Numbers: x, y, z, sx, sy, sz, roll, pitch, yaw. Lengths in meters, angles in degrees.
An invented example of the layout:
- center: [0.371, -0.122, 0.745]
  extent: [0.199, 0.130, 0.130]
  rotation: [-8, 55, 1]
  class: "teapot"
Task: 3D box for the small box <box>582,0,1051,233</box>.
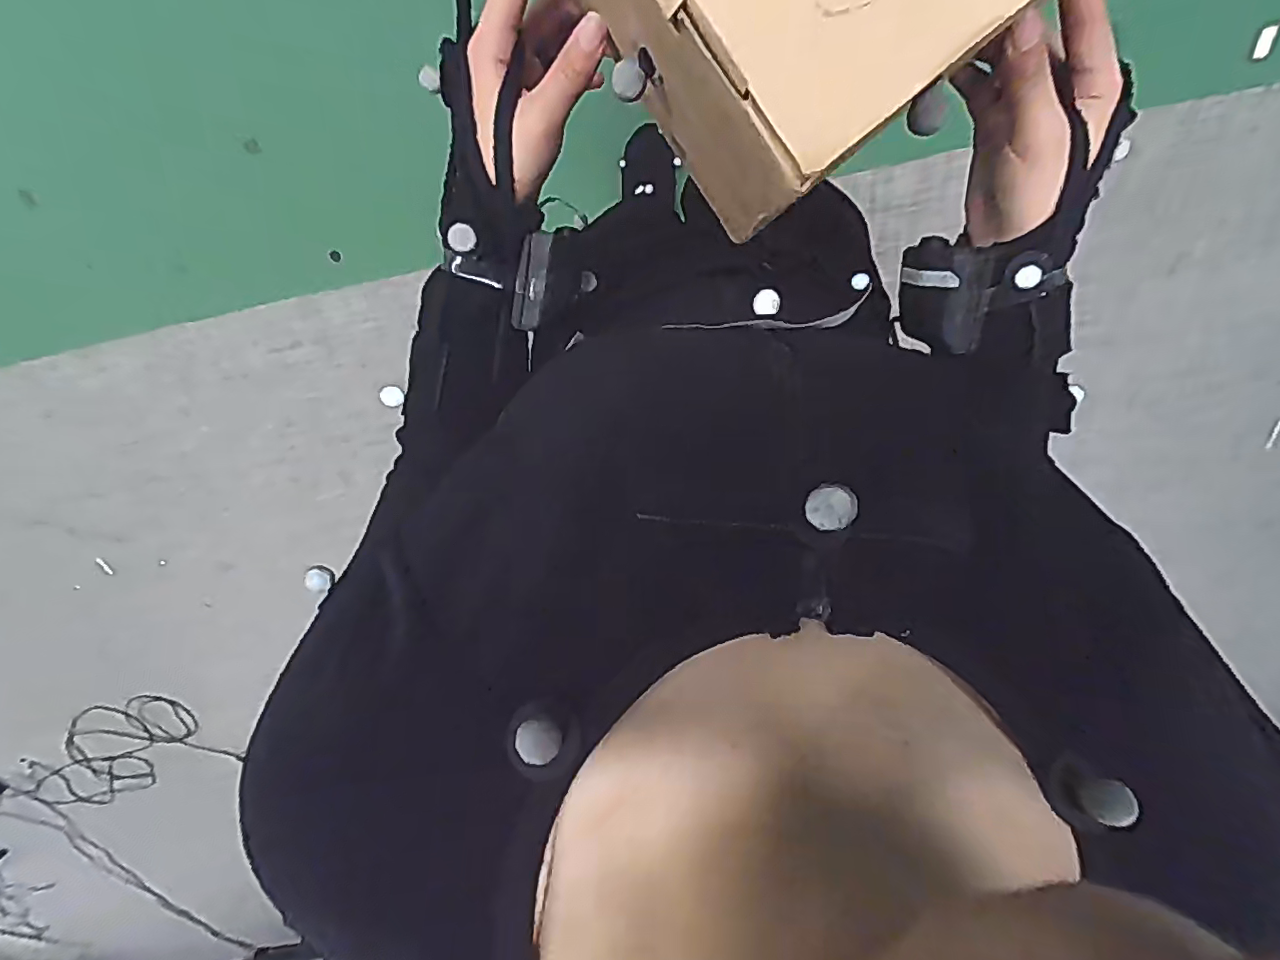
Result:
- center: [0.069, -0.221, 0.202]
  extent: [0.179, 0.176, 0.168]
  rotation: [-35, 102, 15]
  class: "small box"
